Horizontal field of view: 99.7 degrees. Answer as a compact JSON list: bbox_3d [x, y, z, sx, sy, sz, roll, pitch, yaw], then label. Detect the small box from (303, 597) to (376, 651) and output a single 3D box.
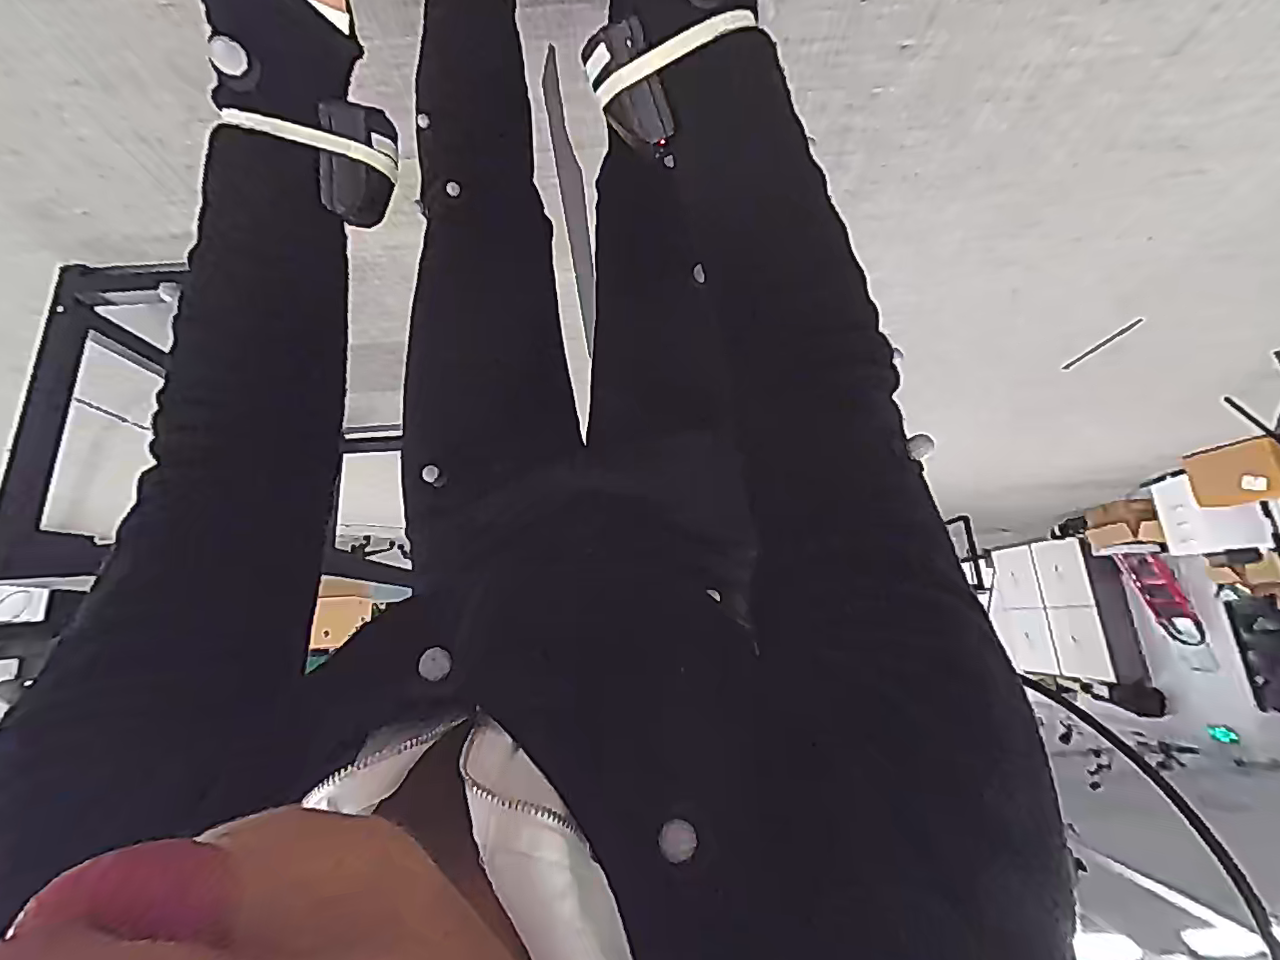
[{"bbox_3d":[-1.051,0.506,1.905,0.179,0.176,0.168,-3,164,-3],"label":"small box"}]
